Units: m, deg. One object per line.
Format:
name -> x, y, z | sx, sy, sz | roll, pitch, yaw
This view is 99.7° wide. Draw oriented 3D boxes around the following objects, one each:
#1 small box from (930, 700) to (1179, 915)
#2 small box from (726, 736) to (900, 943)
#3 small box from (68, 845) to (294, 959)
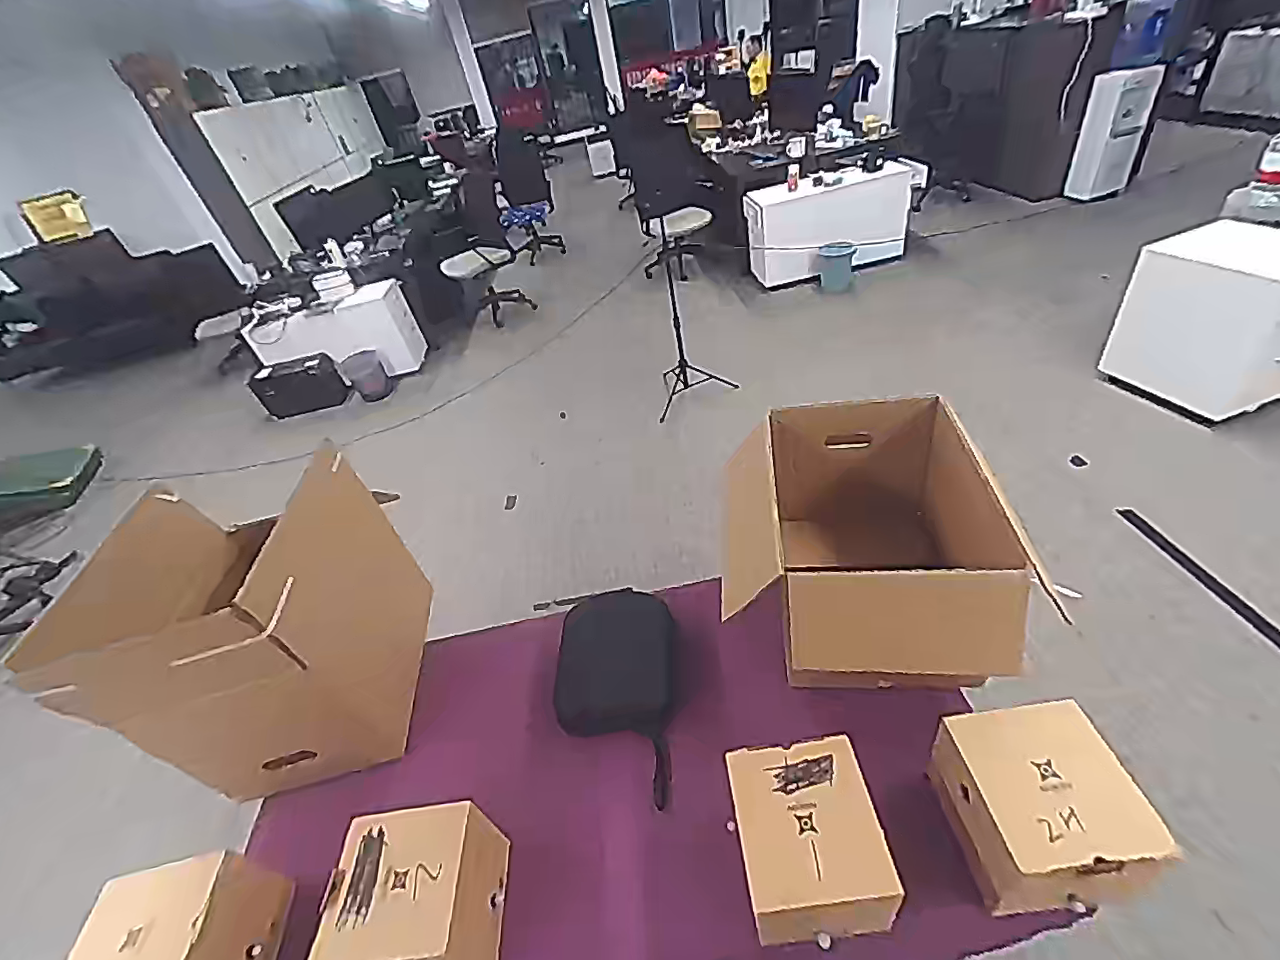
small box -> 0.490, 0.409, 0.679 | 0.168, 0.176, 0.179 | -11, 38, 6
small box -> 0.211, 0.465, 0.702 | 0.168, 0.176, 0.179 | -11, 40, 5
small box -> -0.633, 0.645, 0.749 | 0.179, 0.176, 0.168 | -13, 39, -1
